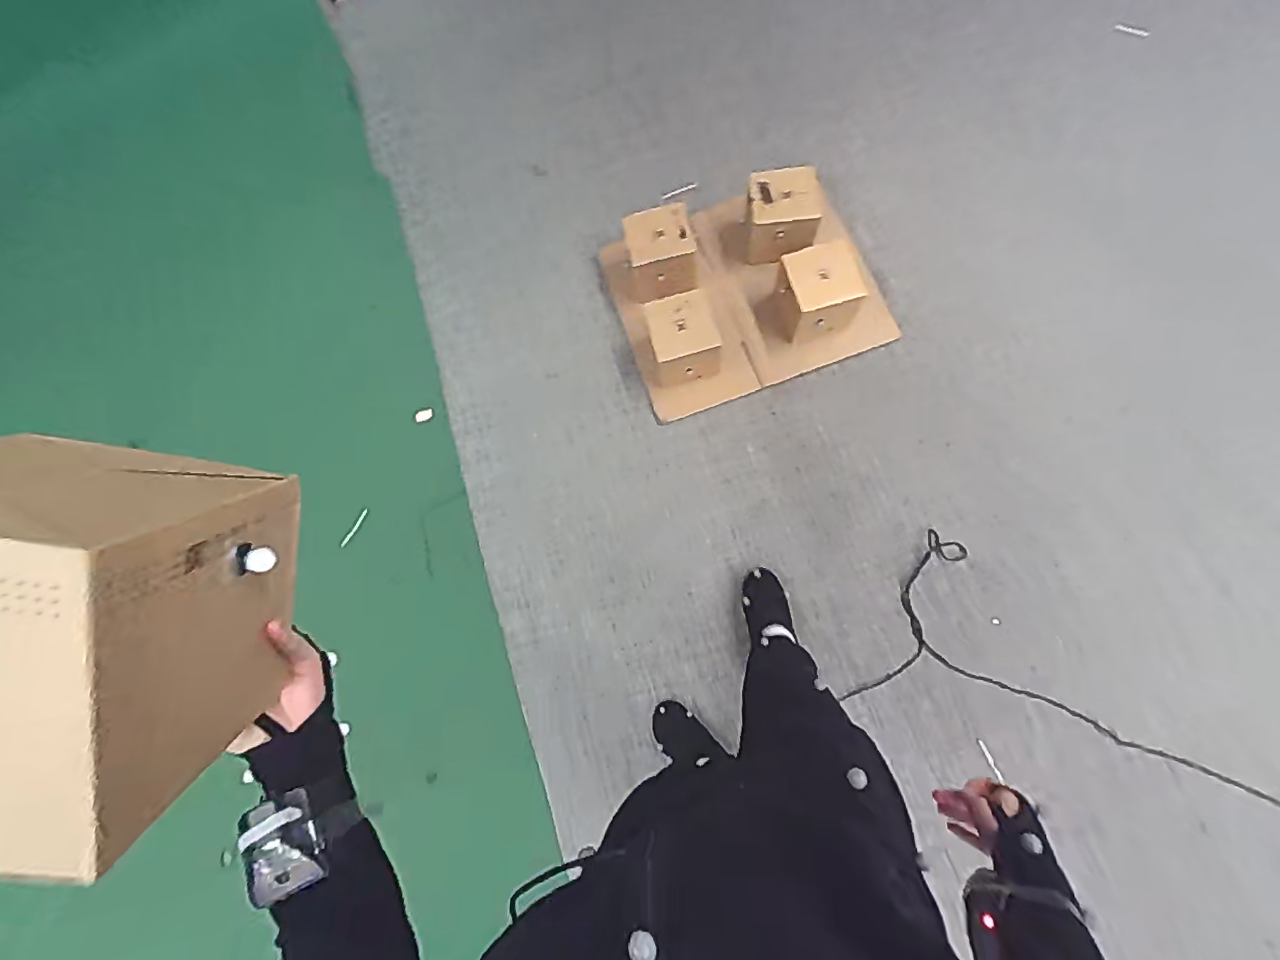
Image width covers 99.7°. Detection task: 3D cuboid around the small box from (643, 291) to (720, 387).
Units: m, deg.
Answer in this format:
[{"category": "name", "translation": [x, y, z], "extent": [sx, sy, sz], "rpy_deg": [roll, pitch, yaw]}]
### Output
[{"category": "small box", "translation": [0.113, -0.365, 1.440], "extent": [0.168, 0.176, 0.179], "rpy_deg": [-15, 74, 3]}]

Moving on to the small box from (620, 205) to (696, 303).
[{"category": "small box", "translation": [0.055, -0.625, 1.517], "extent": [0.179, 0.176, 0.168], "rpy_deg": [-13, 74, 4]}]

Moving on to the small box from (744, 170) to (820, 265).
[{"category": "small box", "translation": [0.384, -0.718, 1.495], "extent": [0.179, 0.176, 0.168], "rpy_deg": [-4, 75, 5]}]

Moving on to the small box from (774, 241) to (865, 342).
[{"category": "small box", "translation": [0.464, -0.484, 1.425], "extent": [0.168, 0.176, 0.179], "rpy_deg": [-16, 73, 3]}]
